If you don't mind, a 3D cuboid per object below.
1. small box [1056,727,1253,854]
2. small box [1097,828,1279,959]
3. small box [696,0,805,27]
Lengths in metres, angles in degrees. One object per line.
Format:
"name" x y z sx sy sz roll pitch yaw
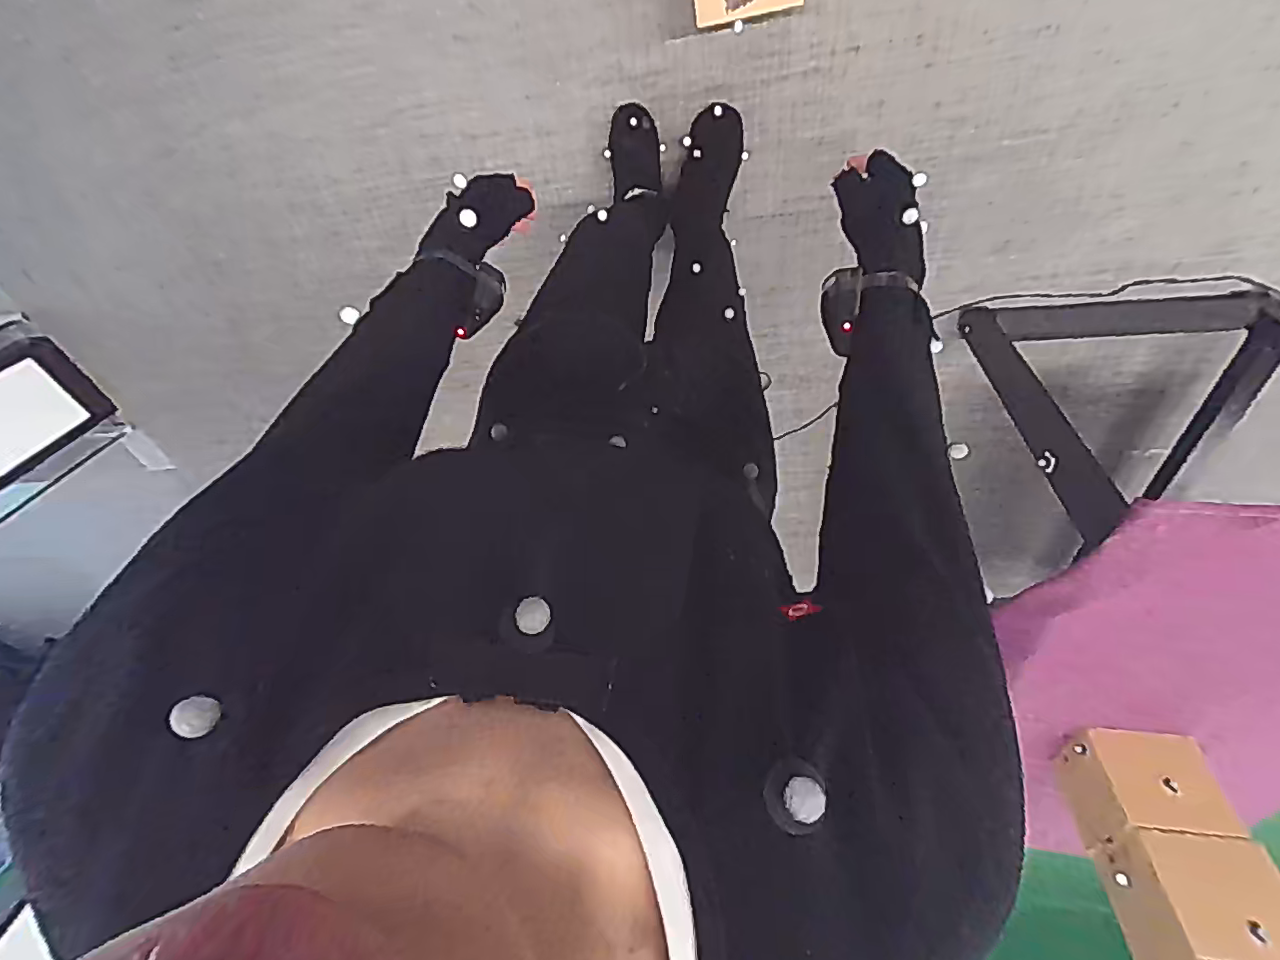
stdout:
"small box" 0.907 0.568 0.981 0.179 0.176 0.168 0 132 10
"small box" 0.891 0.677 0.859 0.179 0.176 0.168 1 132 11
"small box" 0.168 -0.834 0.843 0.168 0.176 0.179 -2 131 13
